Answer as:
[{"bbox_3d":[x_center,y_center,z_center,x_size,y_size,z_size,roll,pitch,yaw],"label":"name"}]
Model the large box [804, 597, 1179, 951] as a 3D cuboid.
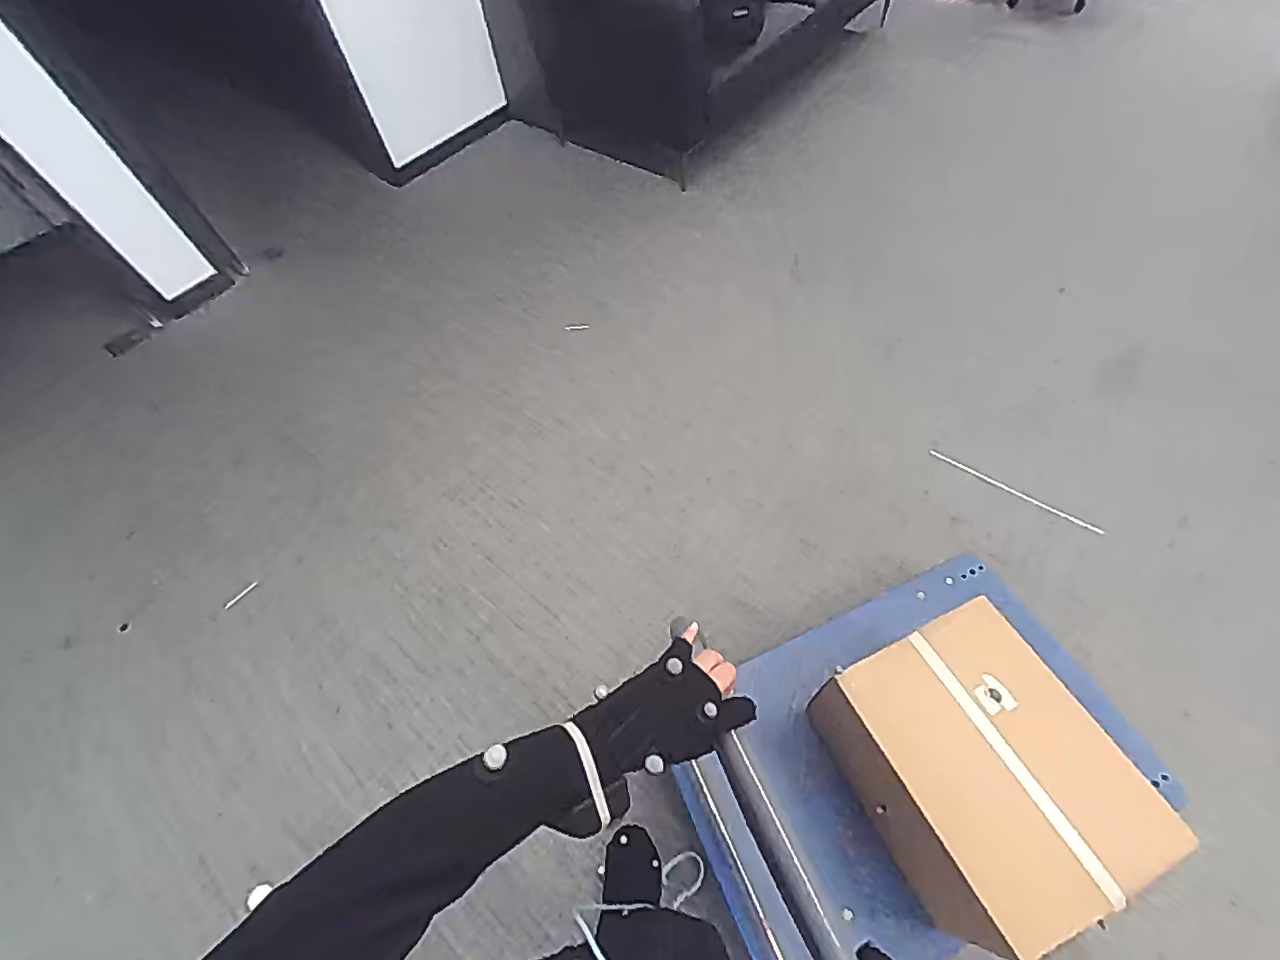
[{"bbox_3d":[0.548,0.493,0.953,0.320,0.320,0.408,-24,57,-9],"label":"large box"}]
